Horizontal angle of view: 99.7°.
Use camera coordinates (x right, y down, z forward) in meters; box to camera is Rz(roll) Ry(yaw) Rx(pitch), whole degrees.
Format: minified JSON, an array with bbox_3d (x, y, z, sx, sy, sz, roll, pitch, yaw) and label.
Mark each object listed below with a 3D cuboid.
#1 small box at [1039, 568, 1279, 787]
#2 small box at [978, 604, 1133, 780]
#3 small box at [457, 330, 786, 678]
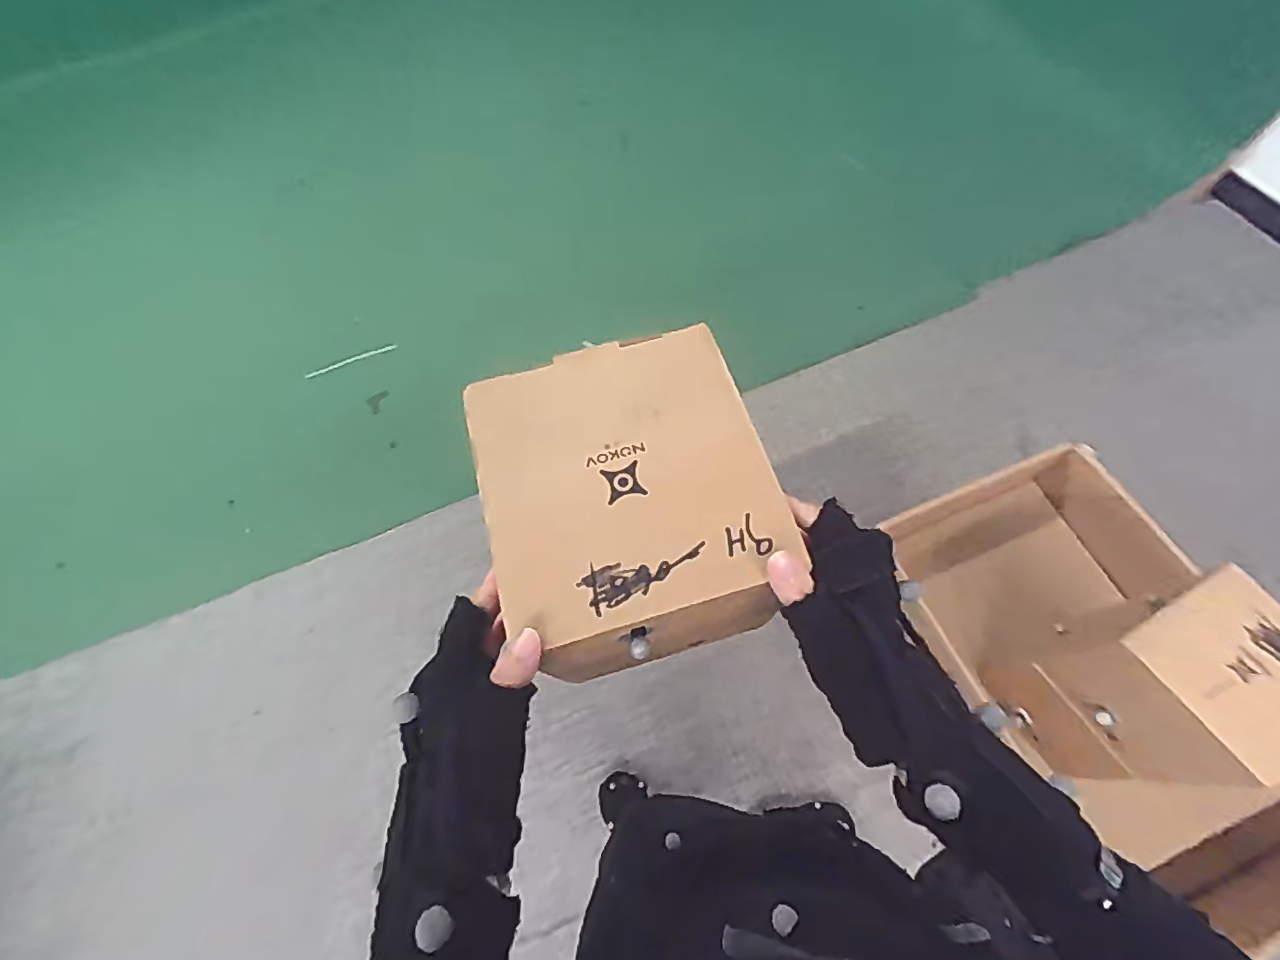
[{"bbox_3d":[0.638,0.235,0.644,0.179,0.176,0.168,-28,63,-9],"label":"small box"},{"bbox_3d":[0.648,0.309,0.790,0.179,0.176,0.168,-28,64,-8],"label":"small box"},{"bbox_3d":[-0.016,0.028,0.395,0.168,0.176,0.179,-16,65,-3],"label":"small box"}]
